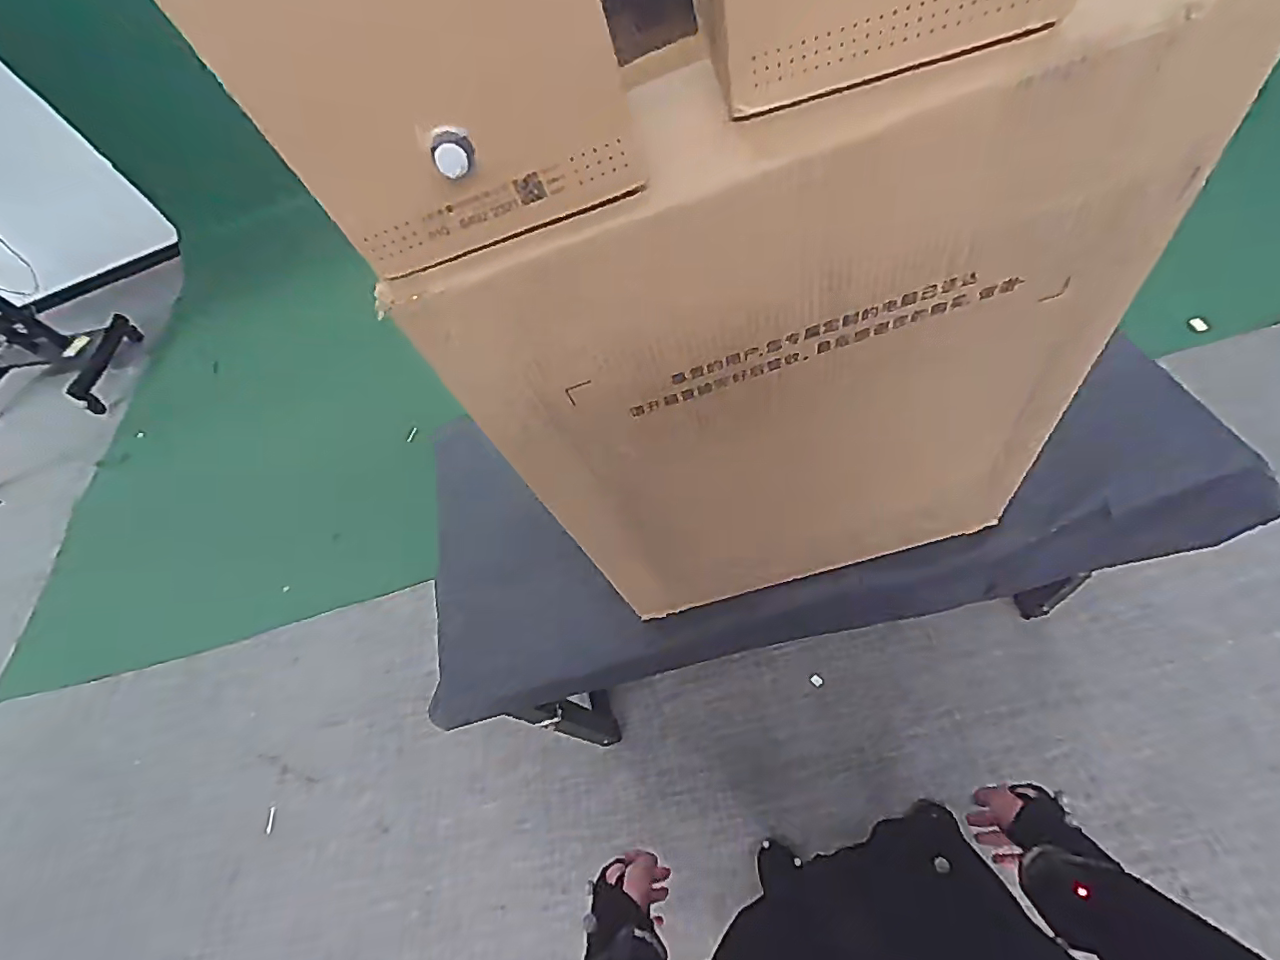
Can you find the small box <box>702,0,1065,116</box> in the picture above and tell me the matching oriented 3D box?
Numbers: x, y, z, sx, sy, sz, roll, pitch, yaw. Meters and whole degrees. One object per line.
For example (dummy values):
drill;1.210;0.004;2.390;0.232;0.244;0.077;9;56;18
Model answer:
small box;0.112;-0.323;0.270;0.179;0.176;0.168;-12;57;10
